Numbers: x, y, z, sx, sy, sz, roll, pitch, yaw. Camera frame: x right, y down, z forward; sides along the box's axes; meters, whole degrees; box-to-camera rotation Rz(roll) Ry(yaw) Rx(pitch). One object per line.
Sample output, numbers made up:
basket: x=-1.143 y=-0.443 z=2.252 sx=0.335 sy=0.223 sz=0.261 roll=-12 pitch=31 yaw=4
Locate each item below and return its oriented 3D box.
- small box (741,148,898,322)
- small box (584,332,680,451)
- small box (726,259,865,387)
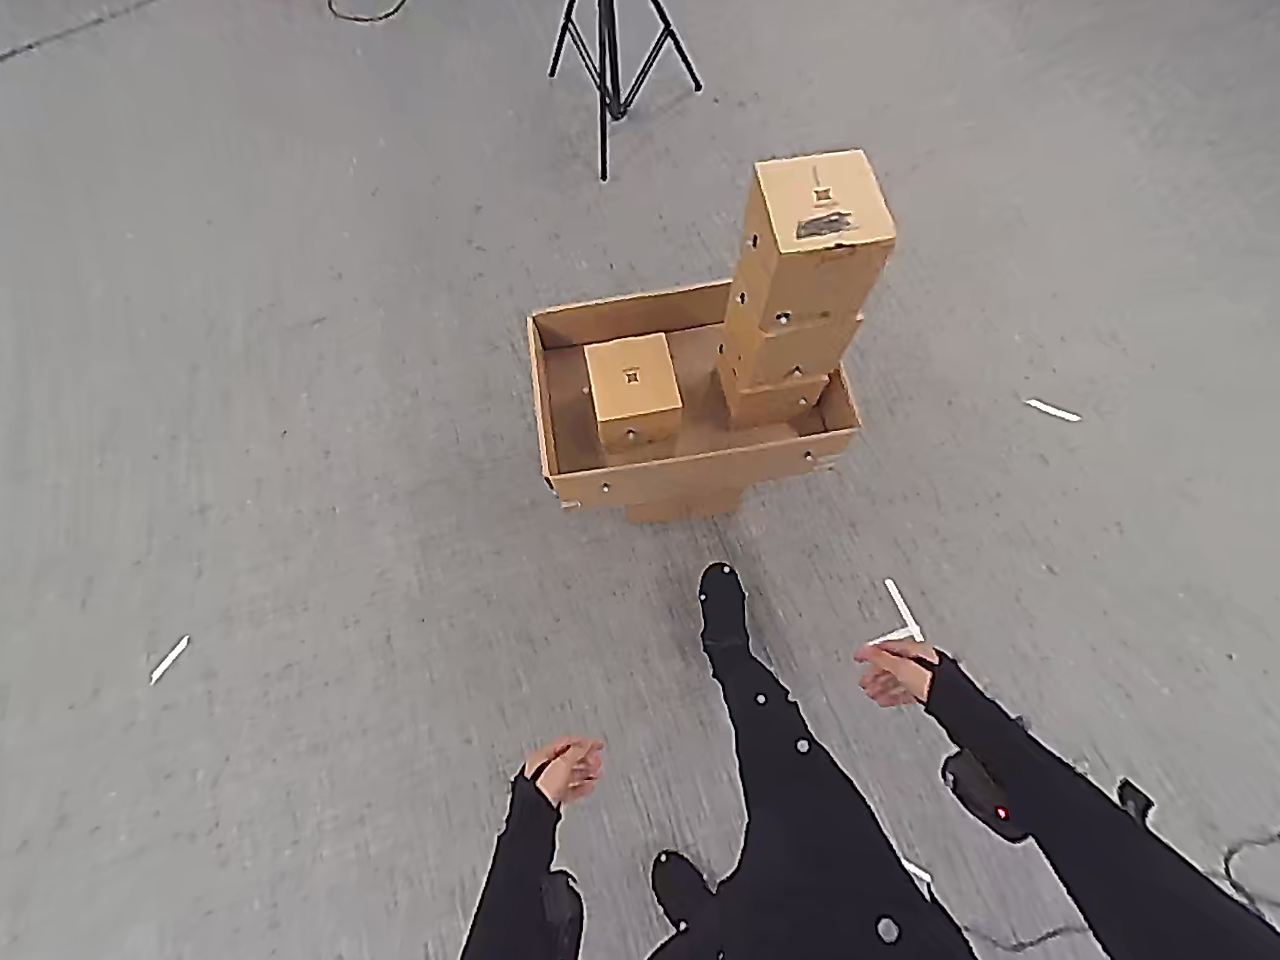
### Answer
small box: x=0.258 y=-0.359 z=0.822 sx=0.168 sy=0.176 sz=0.179 roll=-8 pitch=69 yaw=-1
small box: x=-0.013 y=-0.172 z=1.116 sx=0.168 sy=0.176 sz=0.179 roll=-11 pitch=69 yaw=-2
small box: x=0.267 y=-0.288 z=0.972 sx=0.179 sy=0.176 sz=0.168 roll=-11 pitch=69 yaw=-3
